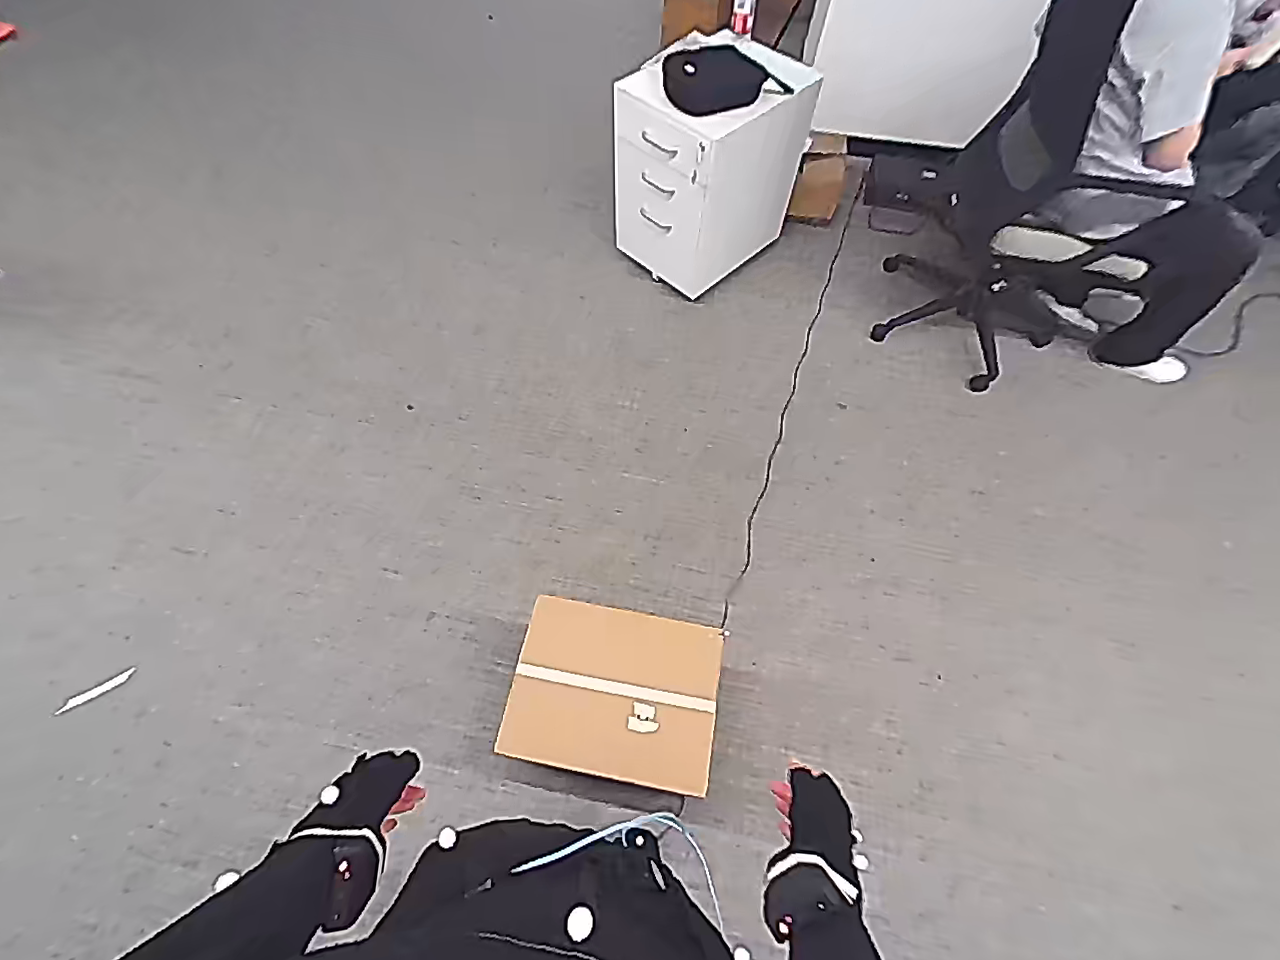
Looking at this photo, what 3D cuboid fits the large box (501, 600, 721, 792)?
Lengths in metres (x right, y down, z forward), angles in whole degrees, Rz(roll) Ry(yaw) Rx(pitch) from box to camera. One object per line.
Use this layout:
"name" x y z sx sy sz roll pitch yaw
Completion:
"large box" -0.054 0.492 1.218 0.408 0.320 0.320 10 62 3
